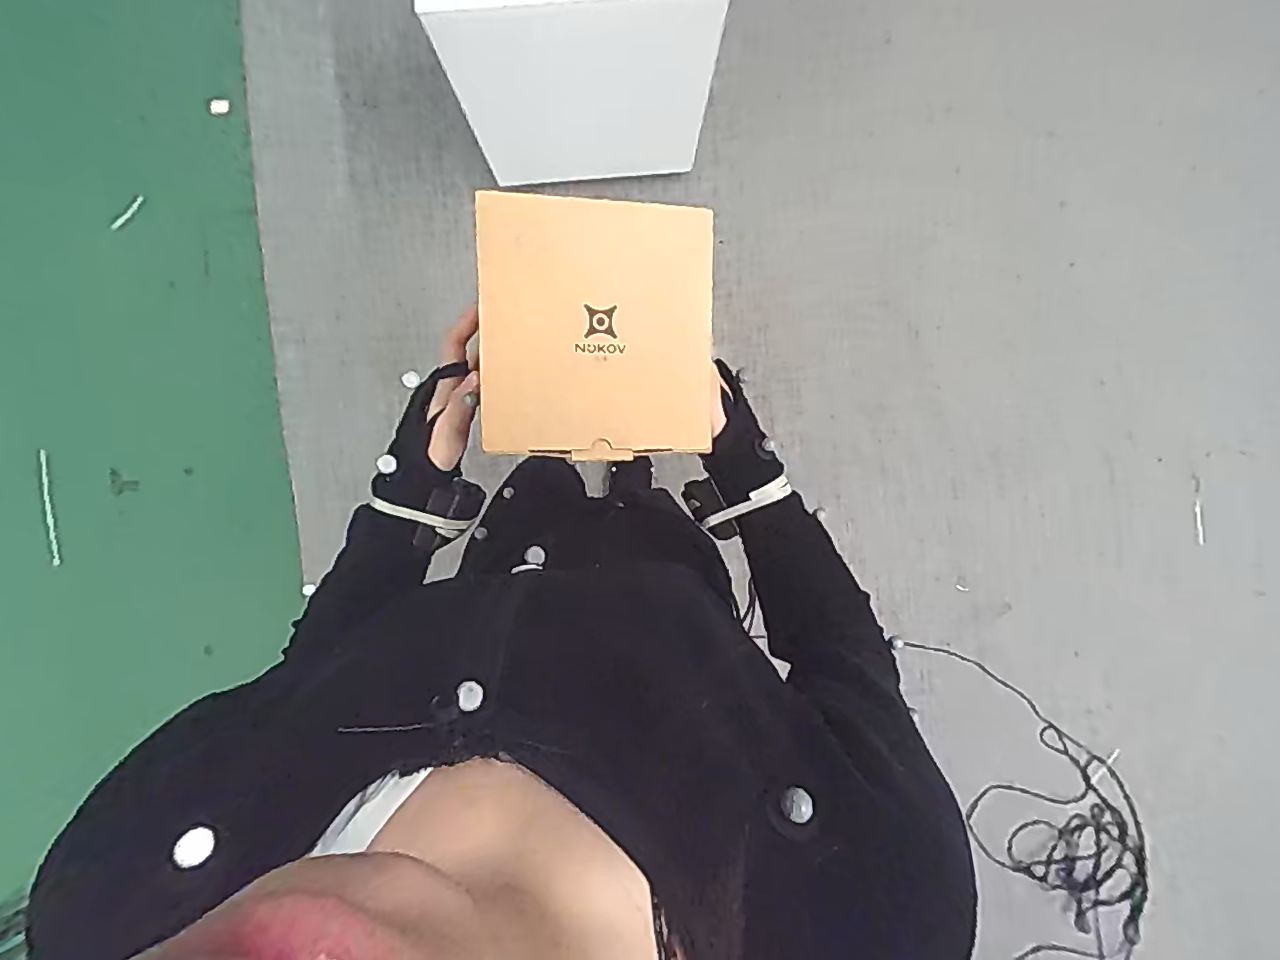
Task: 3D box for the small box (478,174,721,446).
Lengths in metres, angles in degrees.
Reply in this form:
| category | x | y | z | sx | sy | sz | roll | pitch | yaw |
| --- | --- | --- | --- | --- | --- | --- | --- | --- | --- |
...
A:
| category | x | y | z | sx | sy | sz | roll | pitch | yaw |
| --- | --- | --- | --- | --- | --- | --- | --- | --- | --- |
| small box | -0.040 | -0.117 | 0.444 | 0.168 | 0.176 | 0.179 | -3 | 95 | -11 |
